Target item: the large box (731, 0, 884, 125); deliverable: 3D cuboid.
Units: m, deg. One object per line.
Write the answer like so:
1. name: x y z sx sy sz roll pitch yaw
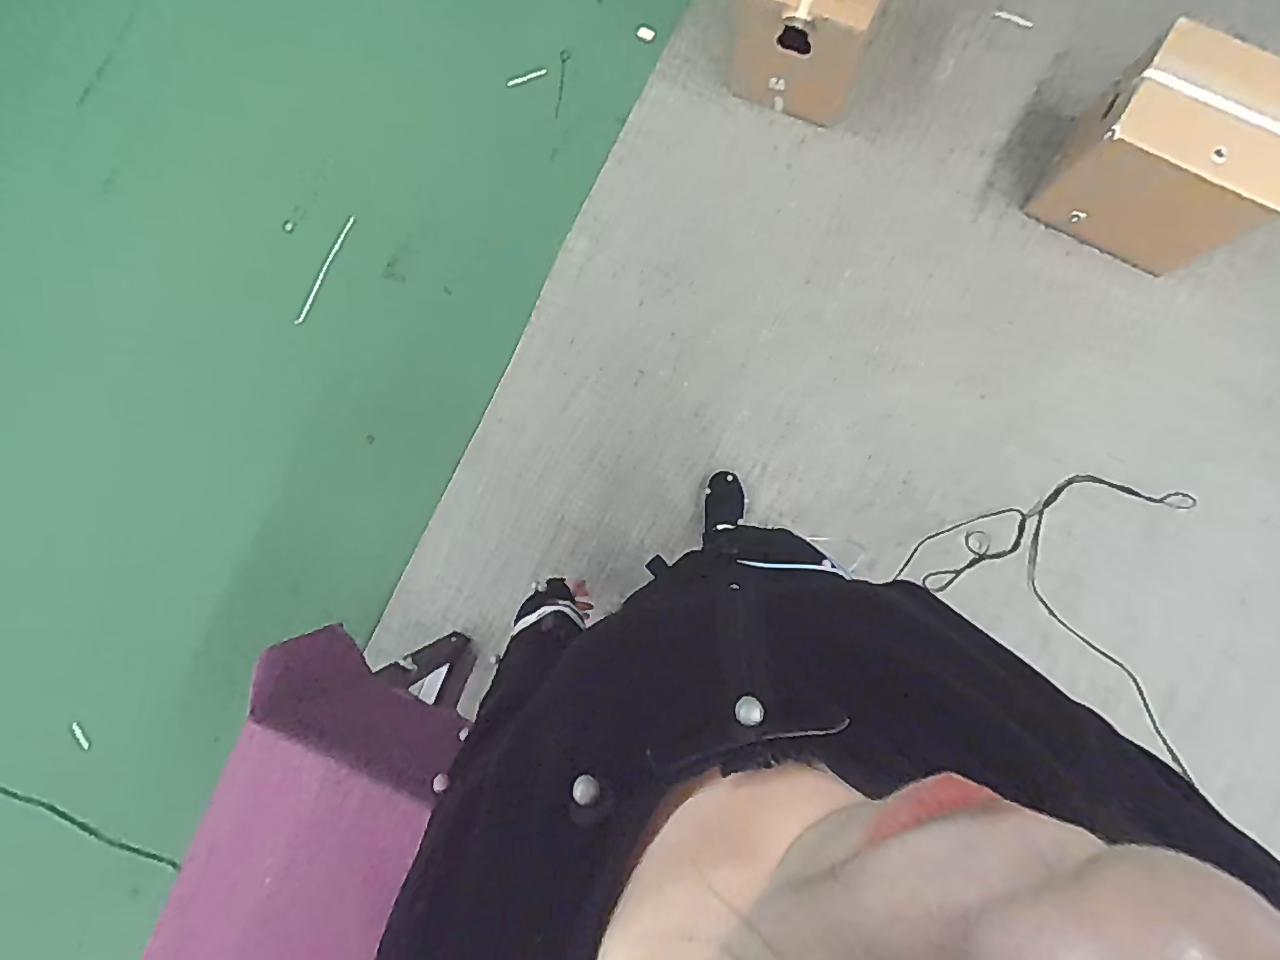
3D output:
1. large box: 0.463 -1.256 1.419 0.320 0.320 0.408 24 87 6
